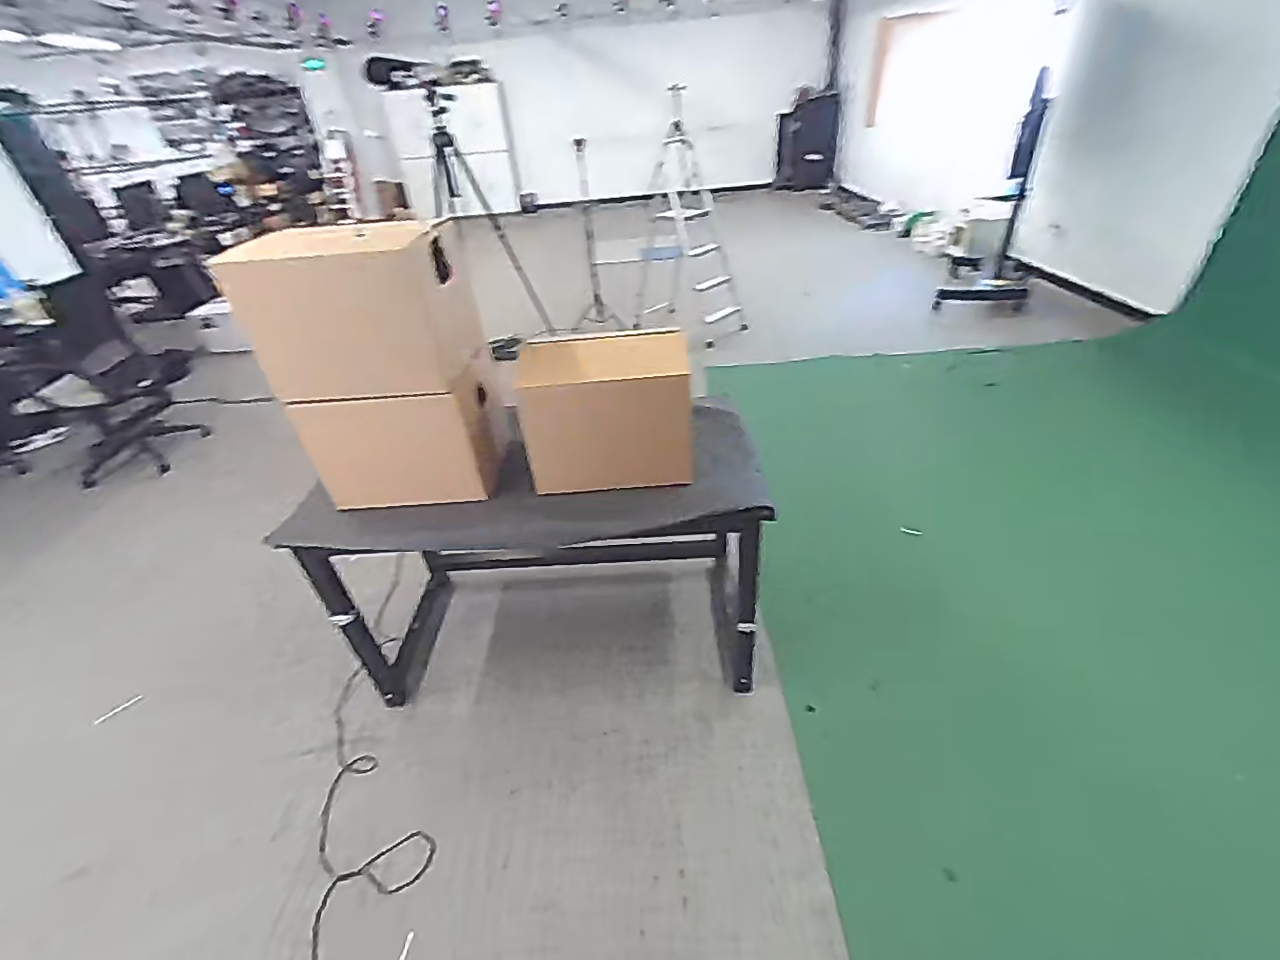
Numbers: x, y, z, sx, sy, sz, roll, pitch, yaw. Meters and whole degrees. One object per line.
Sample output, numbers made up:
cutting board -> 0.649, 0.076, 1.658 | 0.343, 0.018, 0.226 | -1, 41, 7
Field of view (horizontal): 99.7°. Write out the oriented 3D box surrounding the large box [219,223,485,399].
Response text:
large box -> -0.622, -0.398, 1.258 | 0.408, 0.320, 0.320 | -2, 36, 2
